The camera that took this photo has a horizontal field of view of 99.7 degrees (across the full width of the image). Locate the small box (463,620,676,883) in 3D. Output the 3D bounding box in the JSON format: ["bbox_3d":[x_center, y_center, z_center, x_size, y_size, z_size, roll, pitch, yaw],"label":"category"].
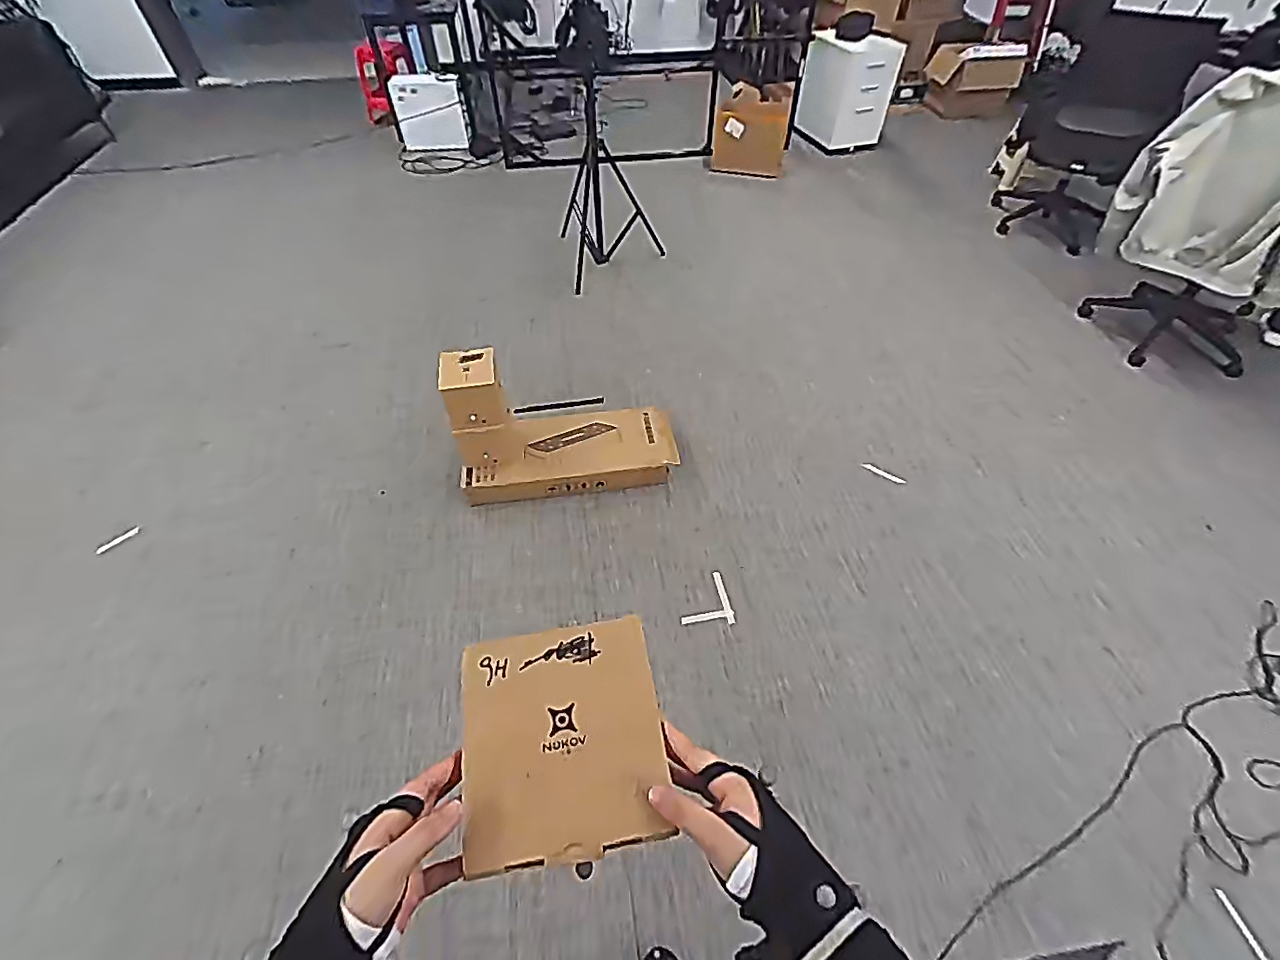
[{"bbox_3d":[-0.063,0.255,0.518,0.168,0.176,0.179,-9,58,-5],"label":"small box"}]

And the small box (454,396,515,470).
[{"bbox_3d":[-0.522,-0.159,1.832,0.168,0.176,0.179,-8,50,-6],"label":"small box"}]

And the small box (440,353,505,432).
[{"bbox_3d":[-0.527,-0.277,1.717,0.168,0.176,0.179,-9,50,-7],"label":"small box"}]
